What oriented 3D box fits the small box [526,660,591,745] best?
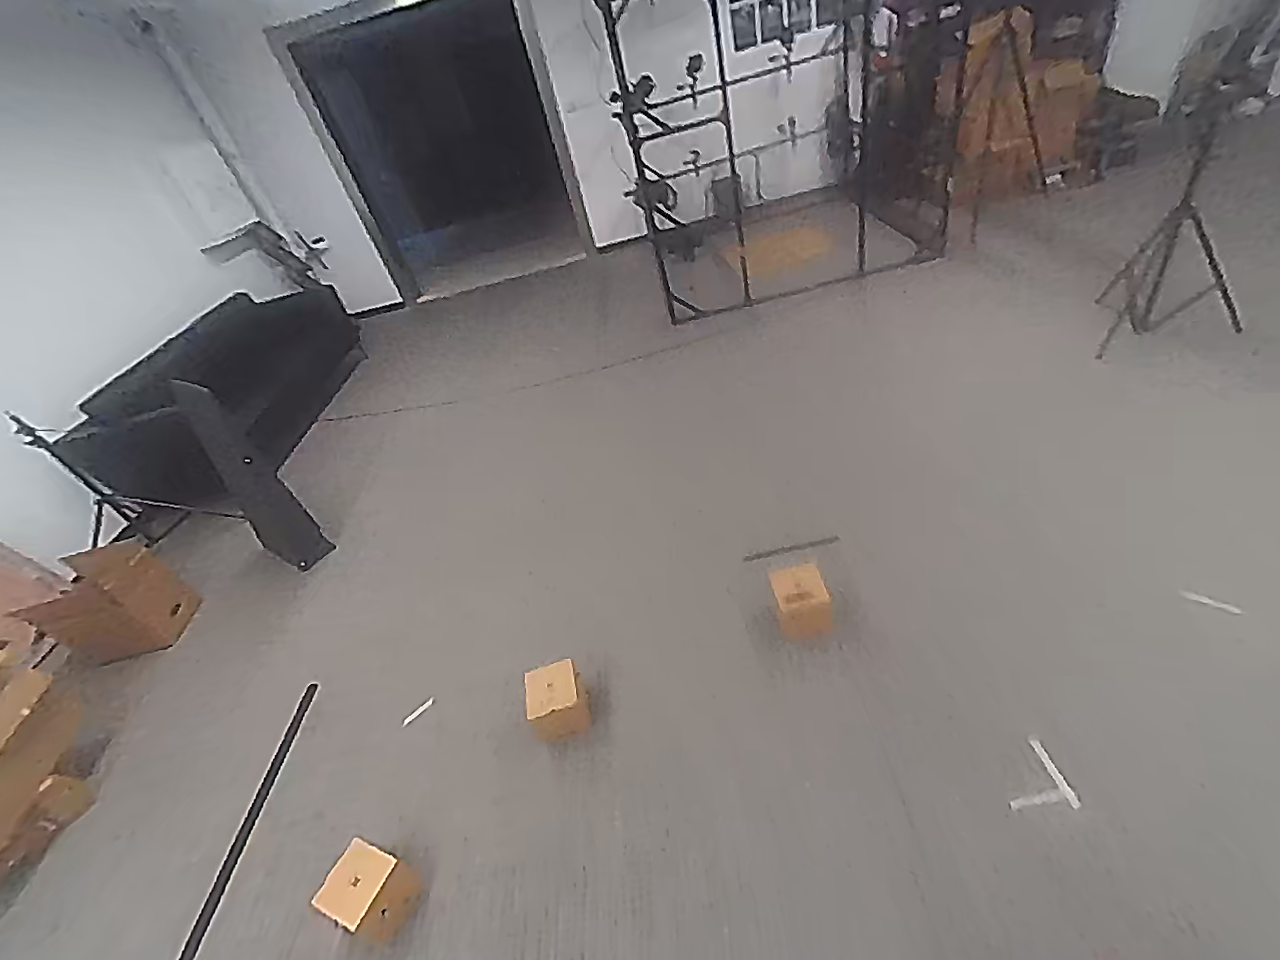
[{"bbox_3d":[-0.270,0.739,1.795,0.168,0.176,0.179,-18,38,-2],"label":"small box"}]

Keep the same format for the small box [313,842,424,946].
[{"bbox_3d":[-0.731,1.135,1.479,0.179,0.176,0.168,4,42,26],"label":"small box"}]
